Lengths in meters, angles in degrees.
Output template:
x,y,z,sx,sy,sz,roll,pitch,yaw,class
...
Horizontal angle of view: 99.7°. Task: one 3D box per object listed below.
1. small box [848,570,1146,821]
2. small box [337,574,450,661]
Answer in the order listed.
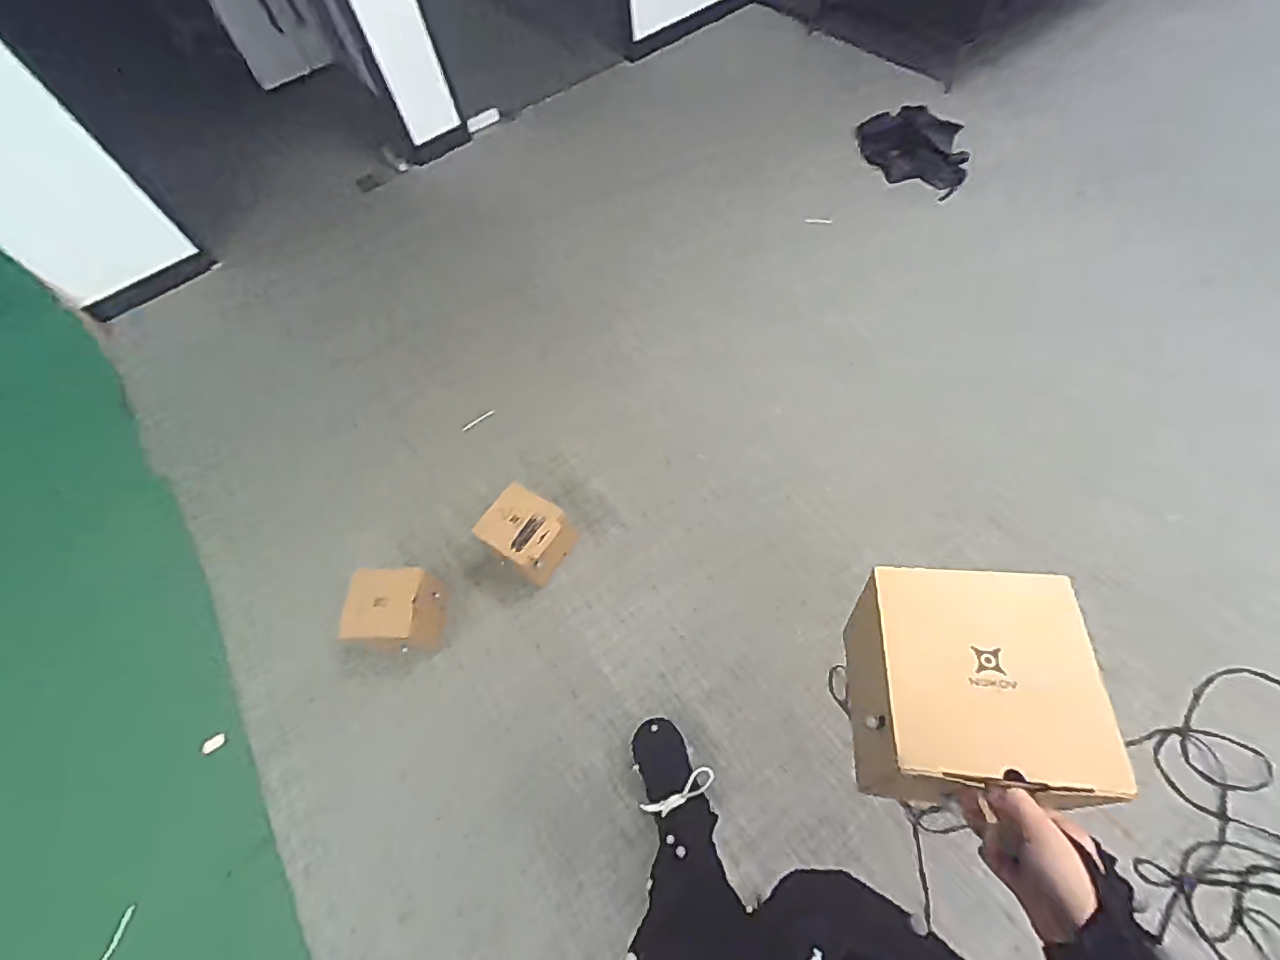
x,y,z,sx,sy,sz,roll,pitch,yaw,class
0.300,0.204,0.508,0.168,0.176,0.179,2,56,10,small box
-0.582,0.335,1.307,0.179,0.176,0.168,-4,59,6,small box
